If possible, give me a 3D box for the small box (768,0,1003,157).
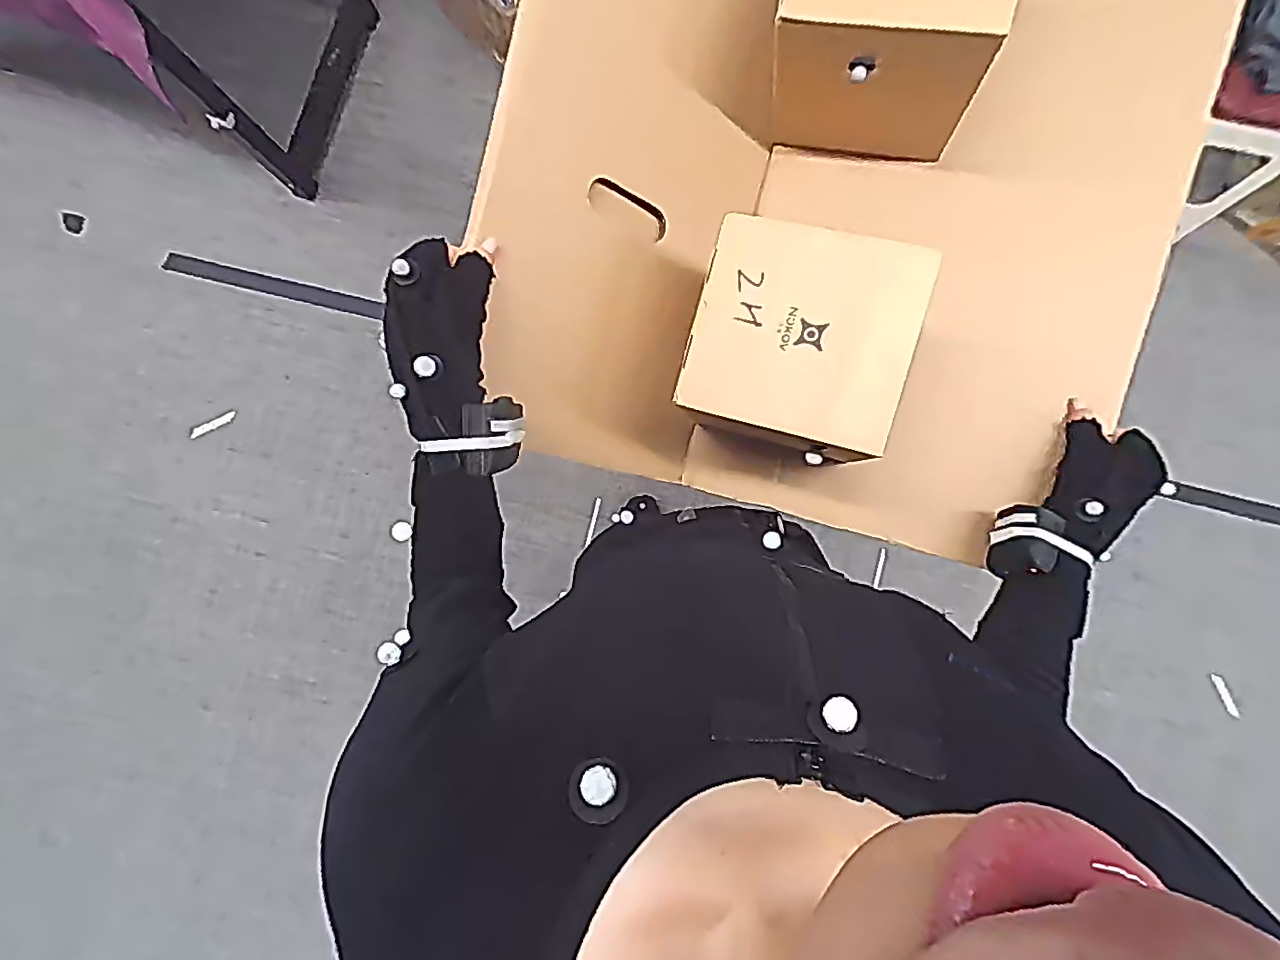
[{"bbox_3d":[0.224,-0.433,0.503,0.179,0.176,0.168,15,93,12],"label":"small box"}]

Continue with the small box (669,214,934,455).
[{"bbox_3d":[0.145,-0.125,0.523,0.179,0.176,0.168,17,94,13],"label":"small box"}]
